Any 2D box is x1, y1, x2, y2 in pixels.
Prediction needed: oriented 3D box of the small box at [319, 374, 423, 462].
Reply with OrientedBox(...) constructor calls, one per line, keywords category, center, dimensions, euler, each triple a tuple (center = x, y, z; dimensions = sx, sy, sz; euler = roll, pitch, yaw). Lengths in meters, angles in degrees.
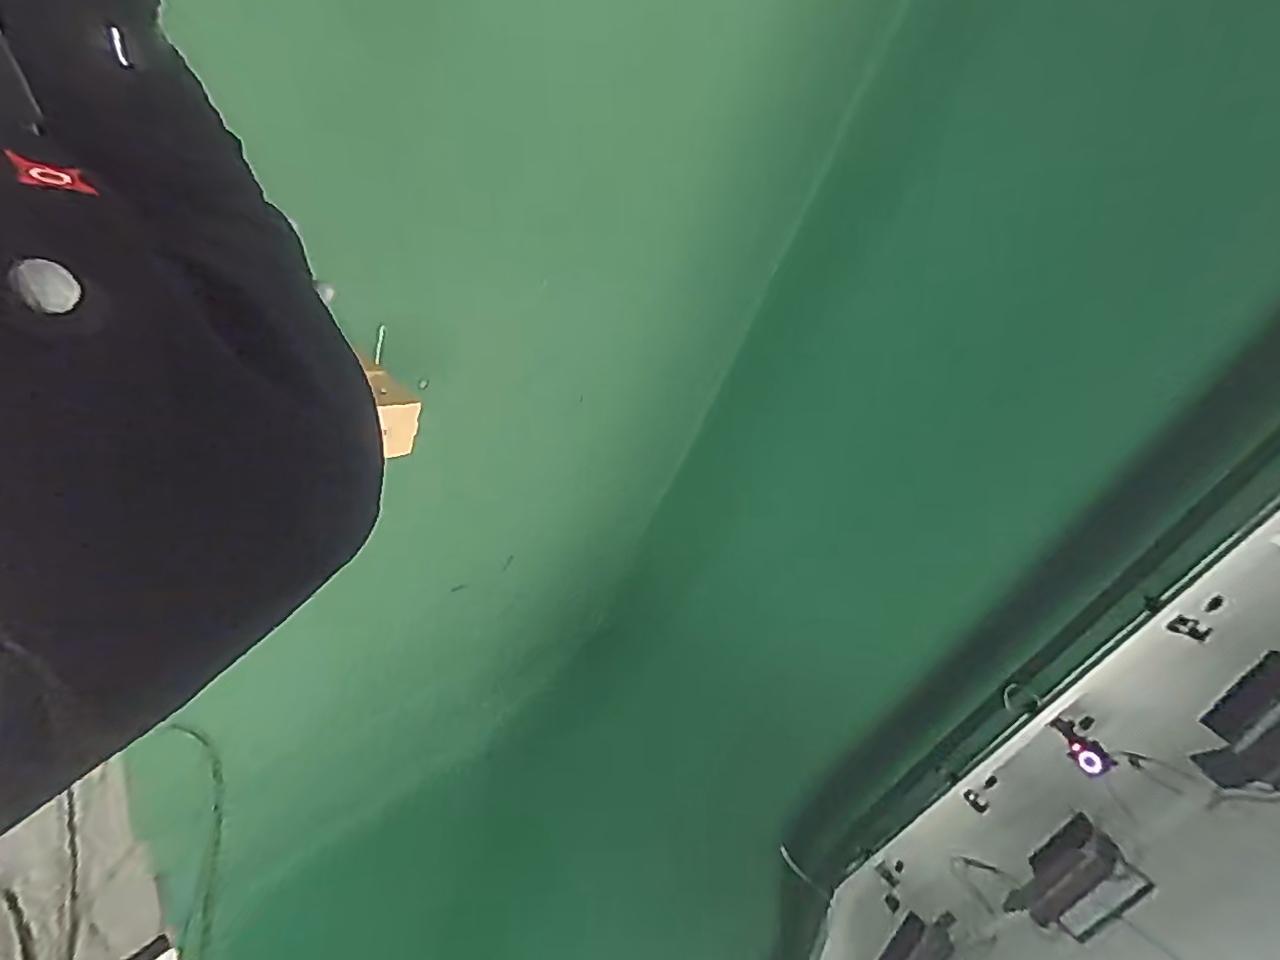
OrientedBox(category="small box", center=(-0.717, -0.173, 1.440), dimensions=(0.179, 0.176, 0.168), euler=(-20, 139, -54))
